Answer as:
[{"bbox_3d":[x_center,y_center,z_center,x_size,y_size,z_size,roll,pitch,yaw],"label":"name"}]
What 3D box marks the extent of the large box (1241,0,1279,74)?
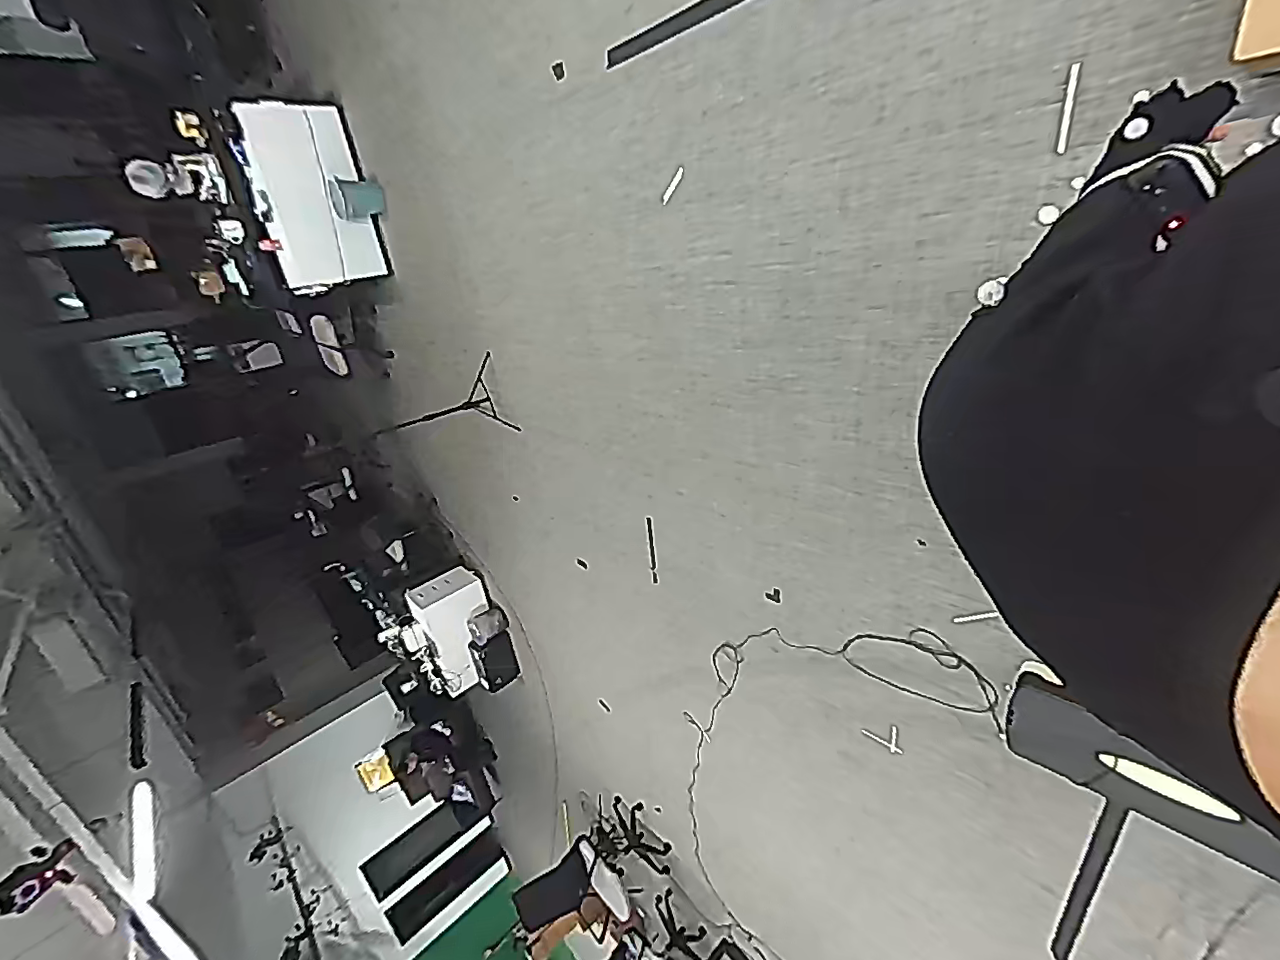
[{"bbox_3d":[1.009,-0.721,0.610,0.408,0.320,0.320,15,123,45],"label":"large box"}]
